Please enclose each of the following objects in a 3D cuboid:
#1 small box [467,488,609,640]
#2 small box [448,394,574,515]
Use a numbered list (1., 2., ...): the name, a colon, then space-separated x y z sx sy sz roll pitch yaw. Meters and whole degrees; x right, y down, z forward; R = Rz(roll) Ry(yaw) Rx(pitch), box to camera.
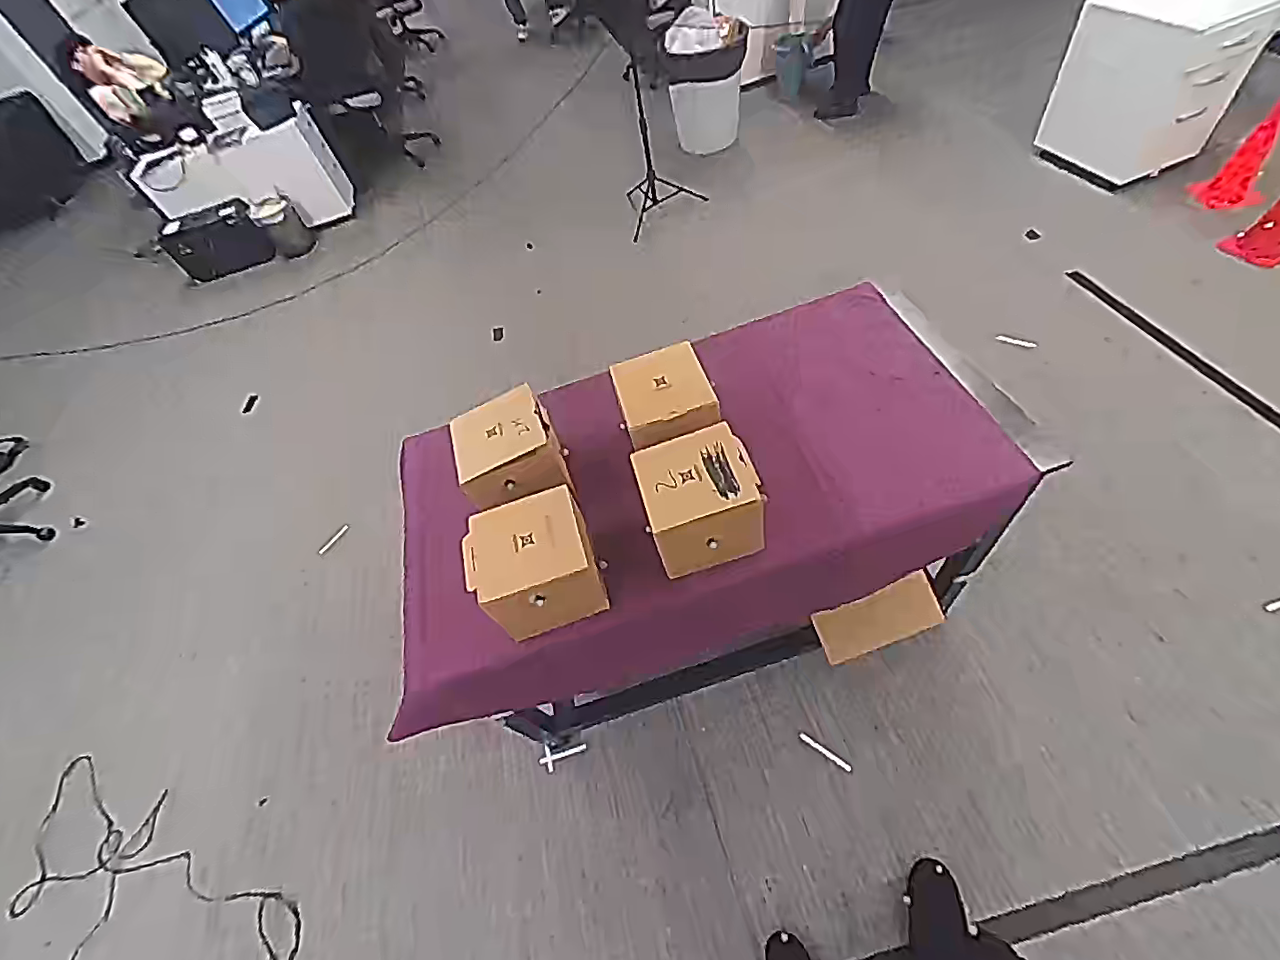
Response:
1. small box: -0.168 0.147 0.911 0.179 0.176 0.168 -19 54 -2
2. small box: -0.248 -0.030 1.053 0.179 0.176 0.168 -21 54 -3
